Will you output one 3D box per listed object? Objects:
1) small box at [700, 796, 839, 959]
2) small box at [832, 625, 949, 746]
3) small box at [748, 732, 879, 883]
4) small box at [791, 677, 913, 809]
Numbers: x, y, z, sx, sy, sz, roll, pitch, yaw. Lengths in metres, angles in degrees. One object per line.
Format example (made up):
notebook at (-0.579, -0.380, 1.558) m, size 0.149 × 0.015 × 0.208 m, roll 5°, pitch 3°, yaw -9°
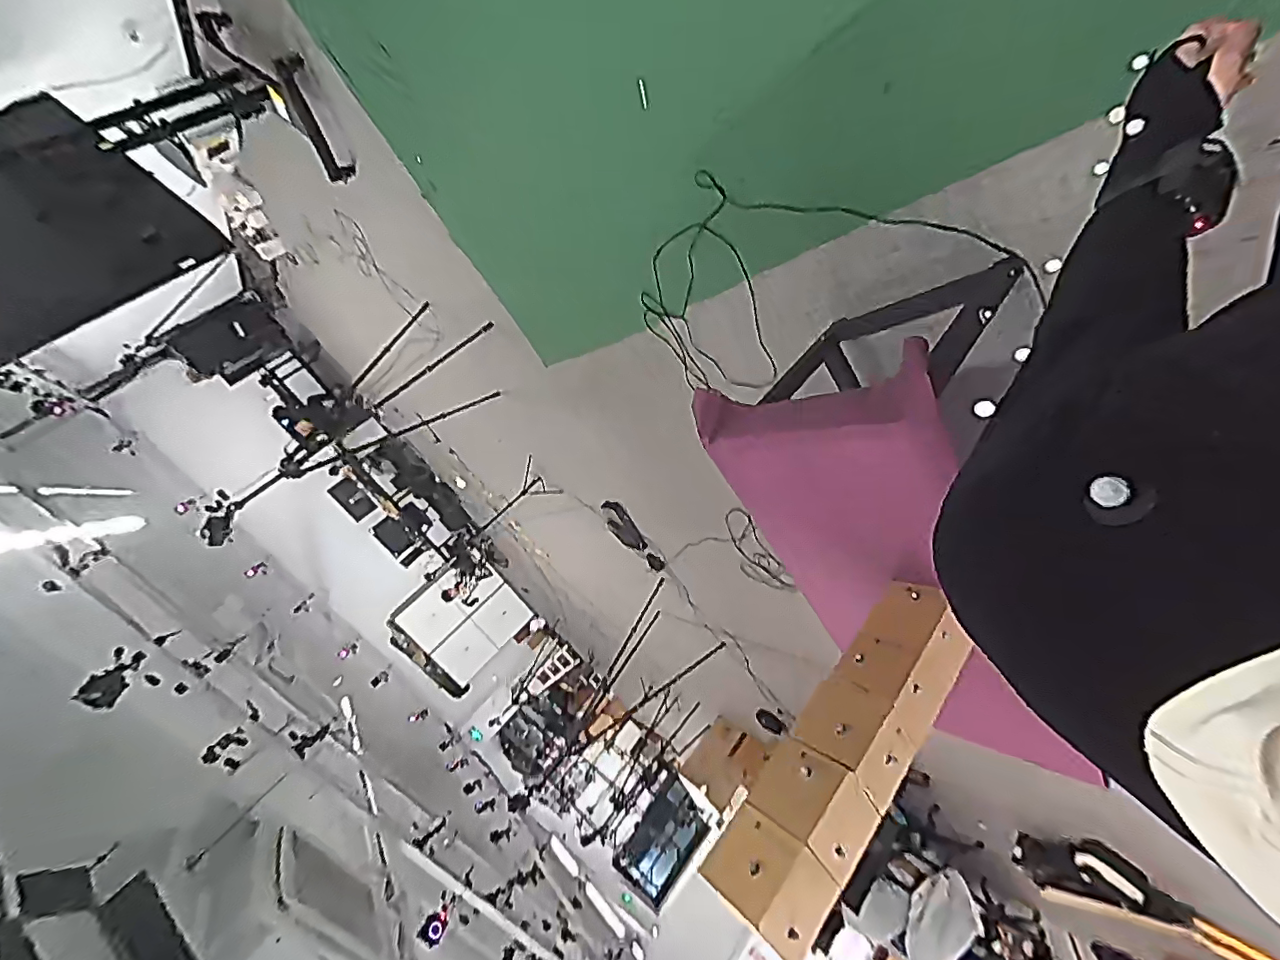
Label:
small box at (0.258, 0.774, 1.067) m, size 0.168 × 0.176 × 0.179 m, roll 3°, pitch 132°, yaw 57°
small box at (0.588, 0.468, 1.262) m, size 0.168 × 0.176 × 0.179 m, roll 4°, pitch 133°, yaw 56°
small box at (0.369, 0.675, 1.134) m, size 0.168 × 0.176 × 0.179 m, roll 2°, pitch 130°, yaw 57°
small box at (0.478, 0.571, 1.200) m, size 0.179 × 0.176 × 0.168 m, roll 4°, pitch 132°, yaw 56°
